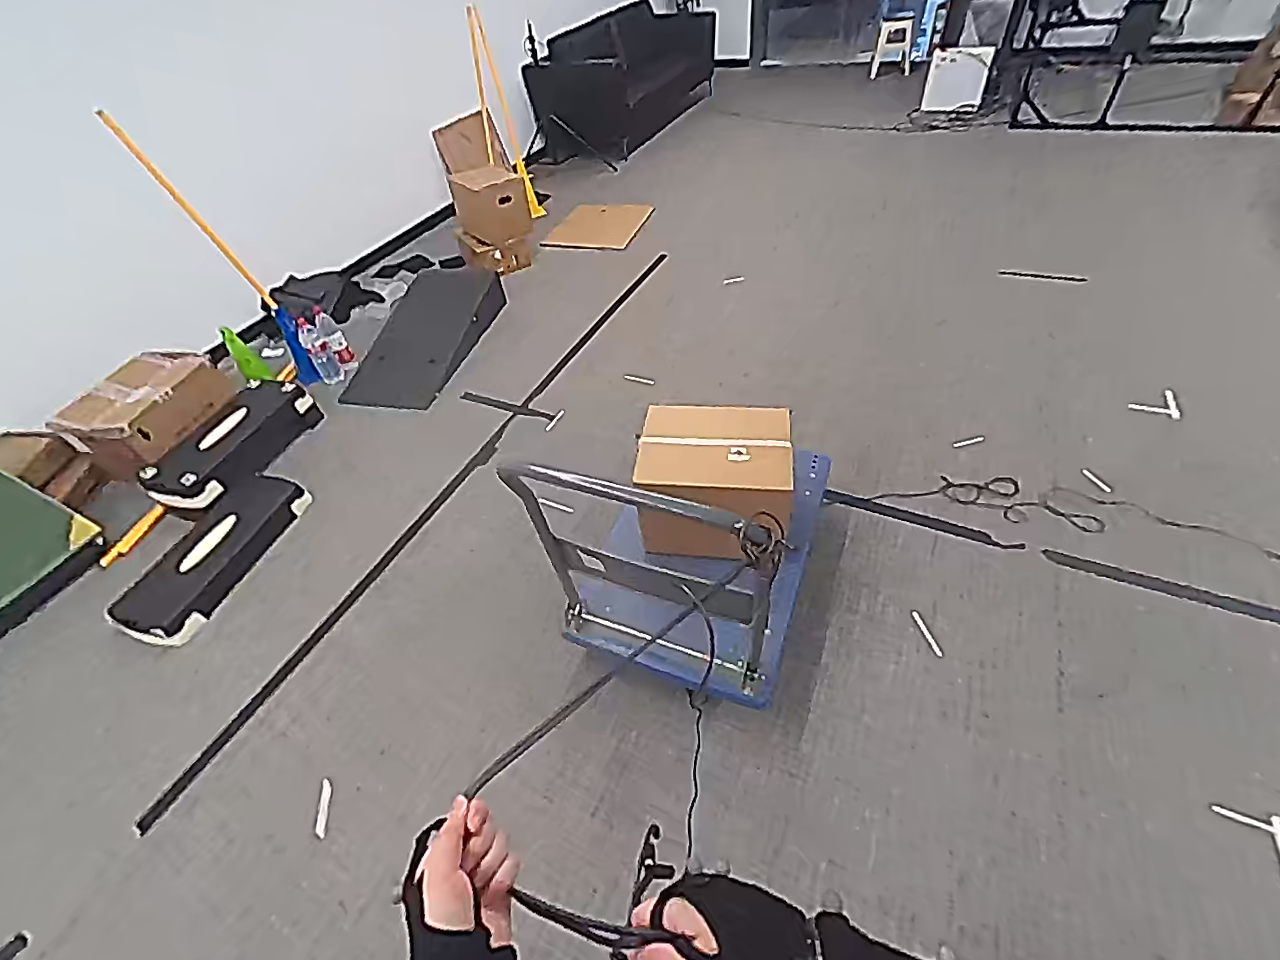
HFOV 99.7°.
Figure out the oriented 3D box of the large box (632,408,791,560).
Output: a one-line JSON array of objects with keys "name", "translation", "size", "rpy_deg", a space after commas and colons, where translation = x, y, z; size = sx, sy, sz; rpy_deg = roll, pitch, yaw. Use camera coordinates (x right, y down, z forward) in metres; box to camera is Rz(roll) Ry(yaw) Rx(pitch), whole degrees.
[{"name": "large box", "translation": [0.207, 0.011, 1.553], "size": [0.408, 0.320, 0.320], "rpy_deg": [3, 48, 10]}]
